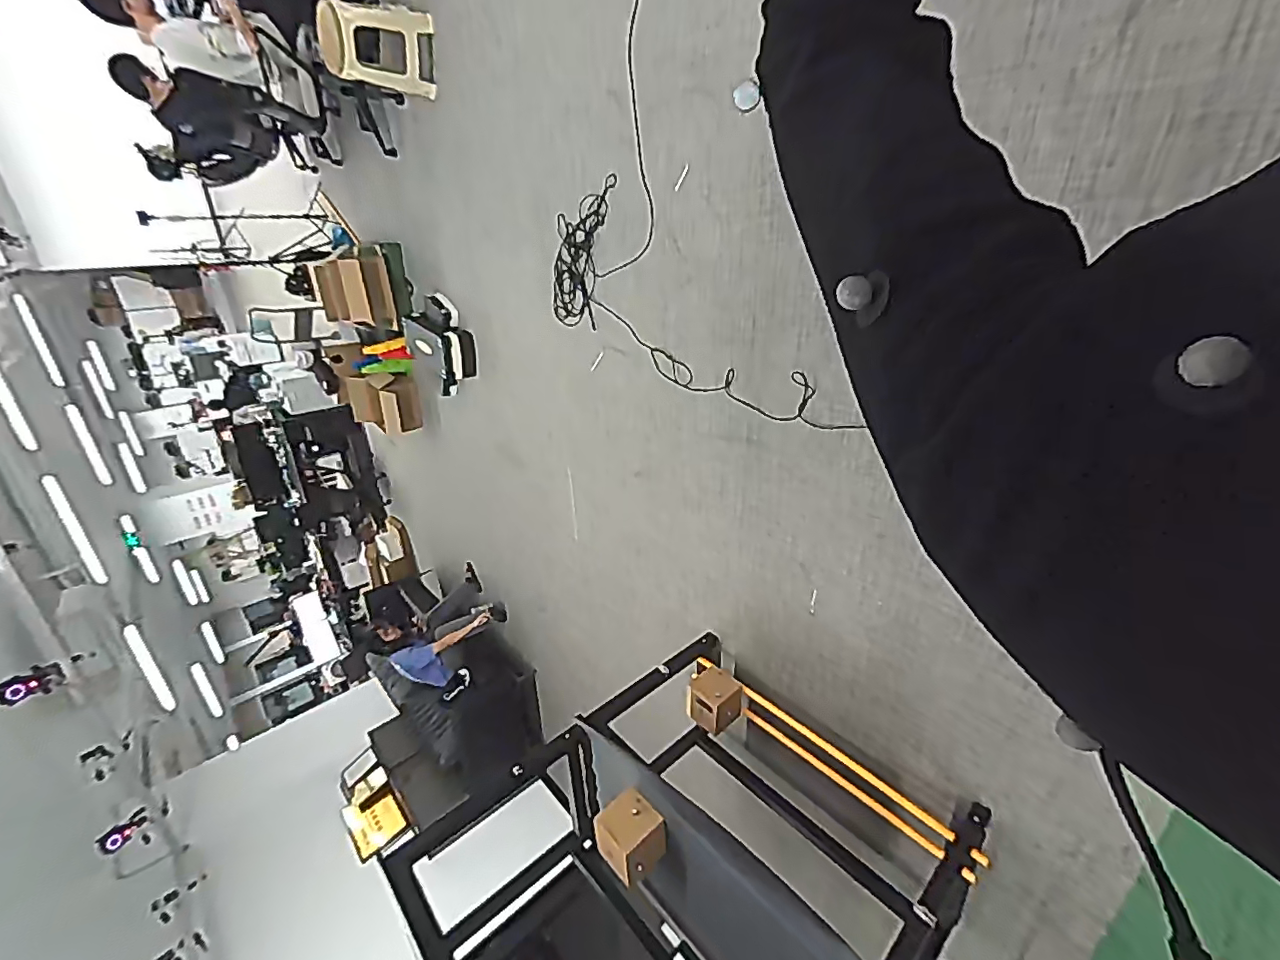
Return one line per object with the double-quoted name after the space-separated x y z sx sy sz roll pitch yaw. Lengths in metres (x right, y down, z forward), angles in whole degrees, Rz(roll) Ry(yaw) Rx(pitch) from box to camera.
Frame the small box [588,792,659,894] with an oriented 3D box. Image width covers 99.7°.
-0.050 1.174 1.759 0.168 0.176 0.179 22 124 43 "small box"
